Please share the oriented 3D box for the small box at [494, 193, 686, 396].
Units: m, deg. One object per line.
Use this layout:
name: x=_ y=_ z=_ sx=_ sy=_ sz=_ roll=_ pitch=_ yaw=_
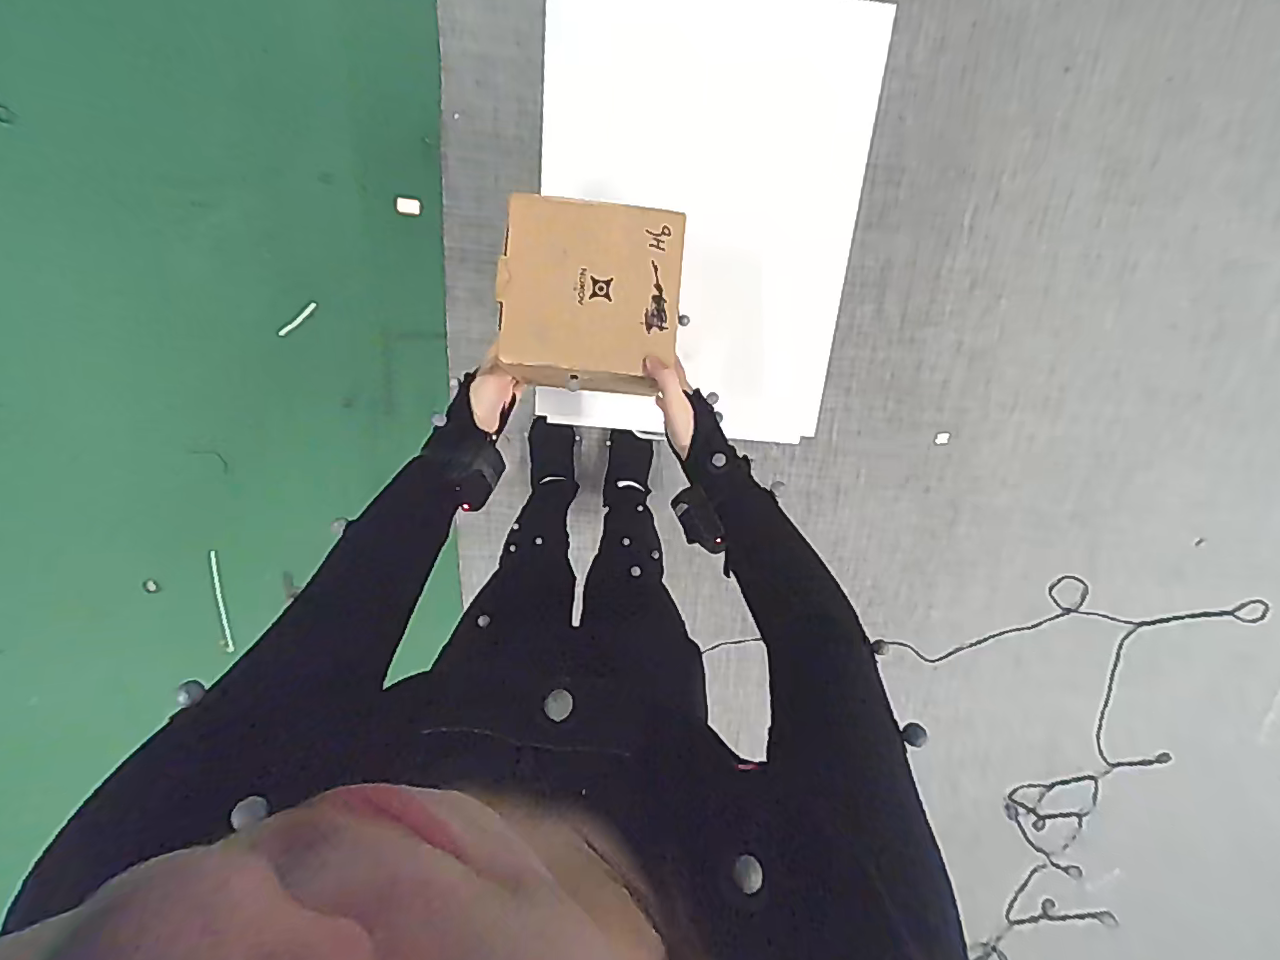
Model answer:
small box: x=-0.054 y=-0.192 z=0.611 sx=0.179 sy=0.176 sz=0.168 roll=6 pitch=92 yaw=-5
